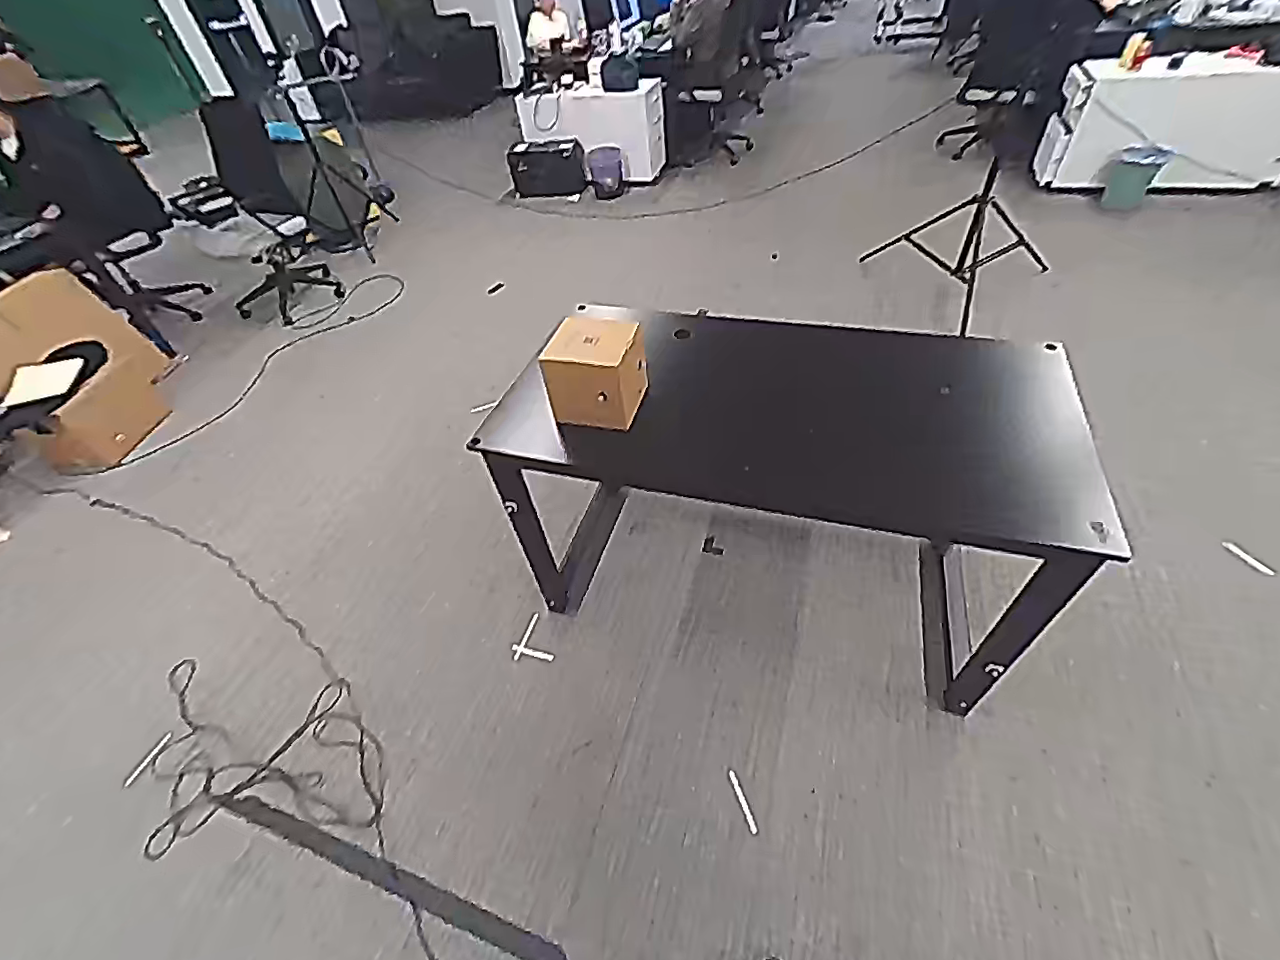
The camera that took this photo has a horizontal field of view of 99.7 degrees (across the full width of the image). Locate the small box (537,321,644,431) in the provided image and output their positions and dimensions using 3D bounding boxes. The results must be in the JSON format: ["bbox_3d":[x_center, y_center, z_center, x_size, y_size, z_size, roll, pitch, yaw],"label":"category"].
[{"bbox_3d":[-0.096,-0.224,1.175,0.179,0.176,0.168,7,47,15],"label":"small box"}]
